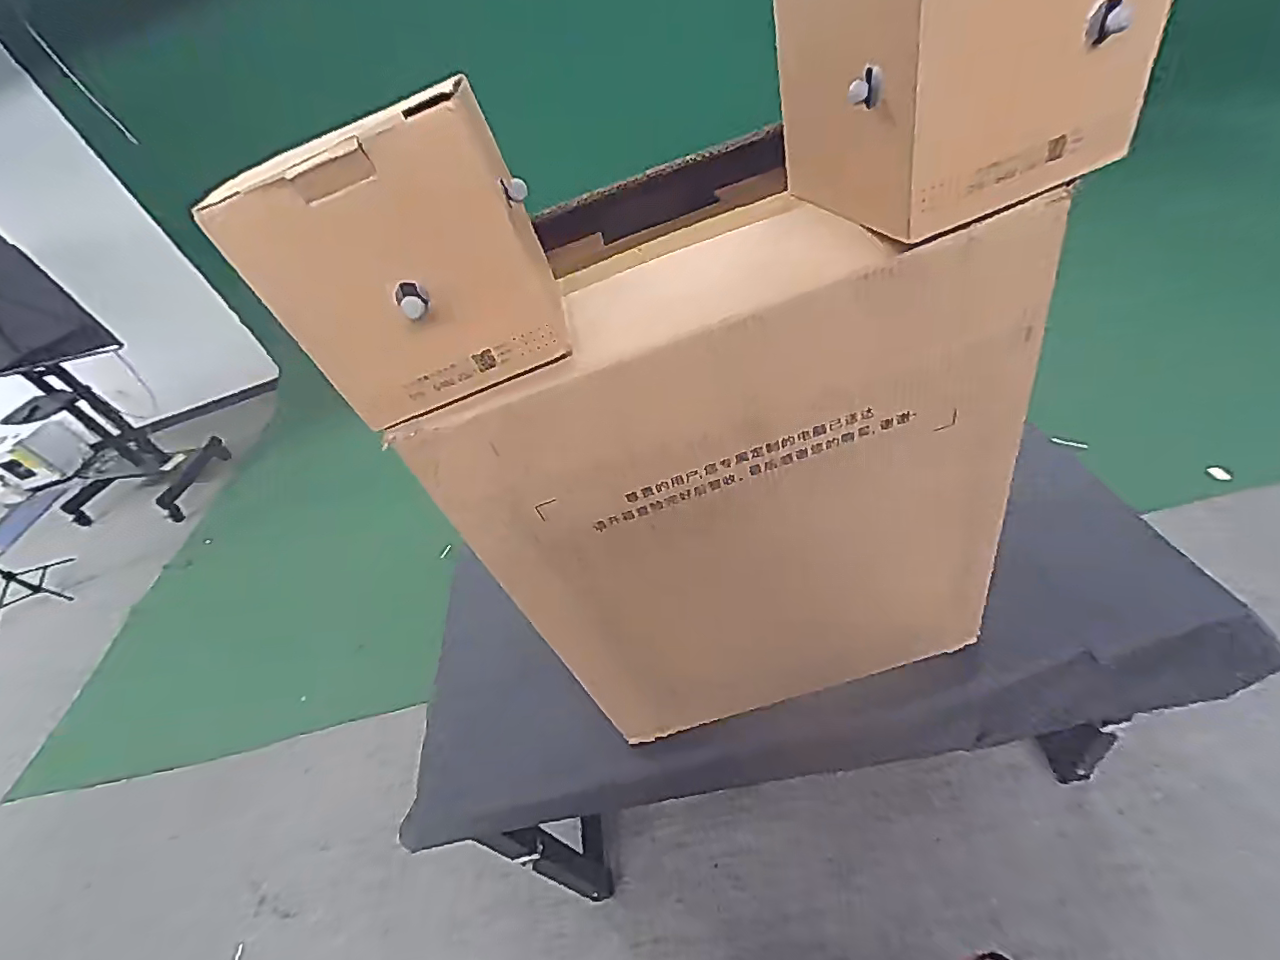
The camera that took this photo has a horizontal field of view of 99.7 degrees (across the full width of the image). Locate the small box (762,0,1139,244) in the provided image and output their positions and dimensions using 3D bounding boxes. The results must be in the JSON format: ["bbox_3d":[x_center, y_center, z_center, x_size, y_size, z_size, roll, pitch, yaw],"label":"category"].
[{"bbox_3d":[0.205,-0.289,0.382,0.168,0.176,0.179,-22,40,-3],"label":"small box"}]

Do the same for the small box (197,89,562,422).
[{"bbox_3d":[-0.171,-0.165,0.418,0.168,0.176,0.179,-22,41,2],"label":"small box"}]
